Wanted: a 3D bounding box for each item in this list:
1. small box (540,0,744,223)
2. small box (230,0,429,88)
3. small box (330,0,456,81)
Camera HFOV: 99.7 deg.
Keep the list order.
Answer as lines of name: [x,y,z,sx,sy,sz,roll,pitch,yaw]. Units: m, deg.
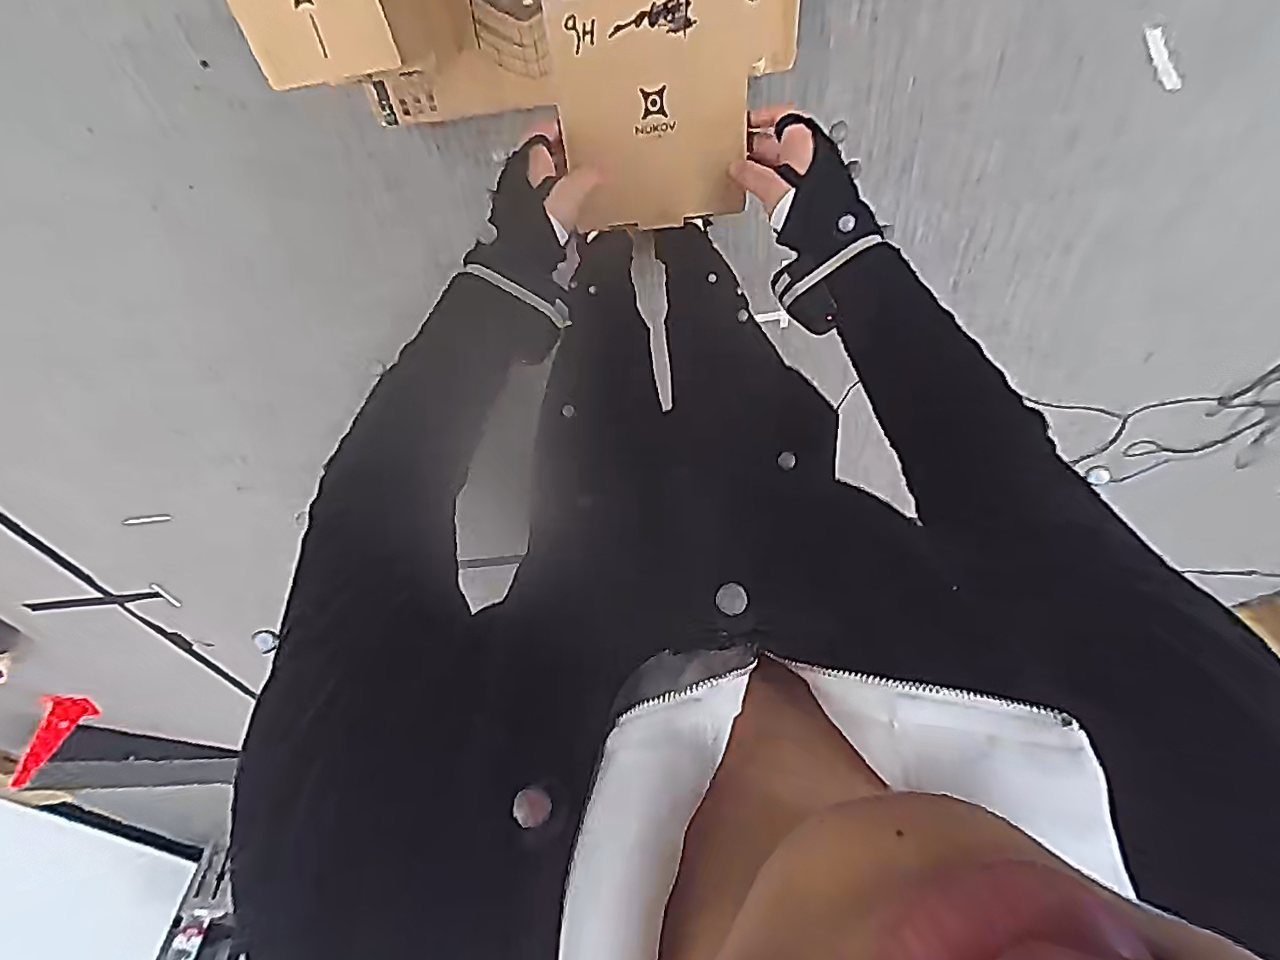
small box: [0.004,-0.375,0.536,0.168,0.176,0.179,-7,127,0]
small box: [-0.378,-0.598,0.646,0.168,0.176,0.179,-8,134,3]
small box: [-0.383,-0.700,0.776,0.168,0.176,0.179,-7,134,2]
